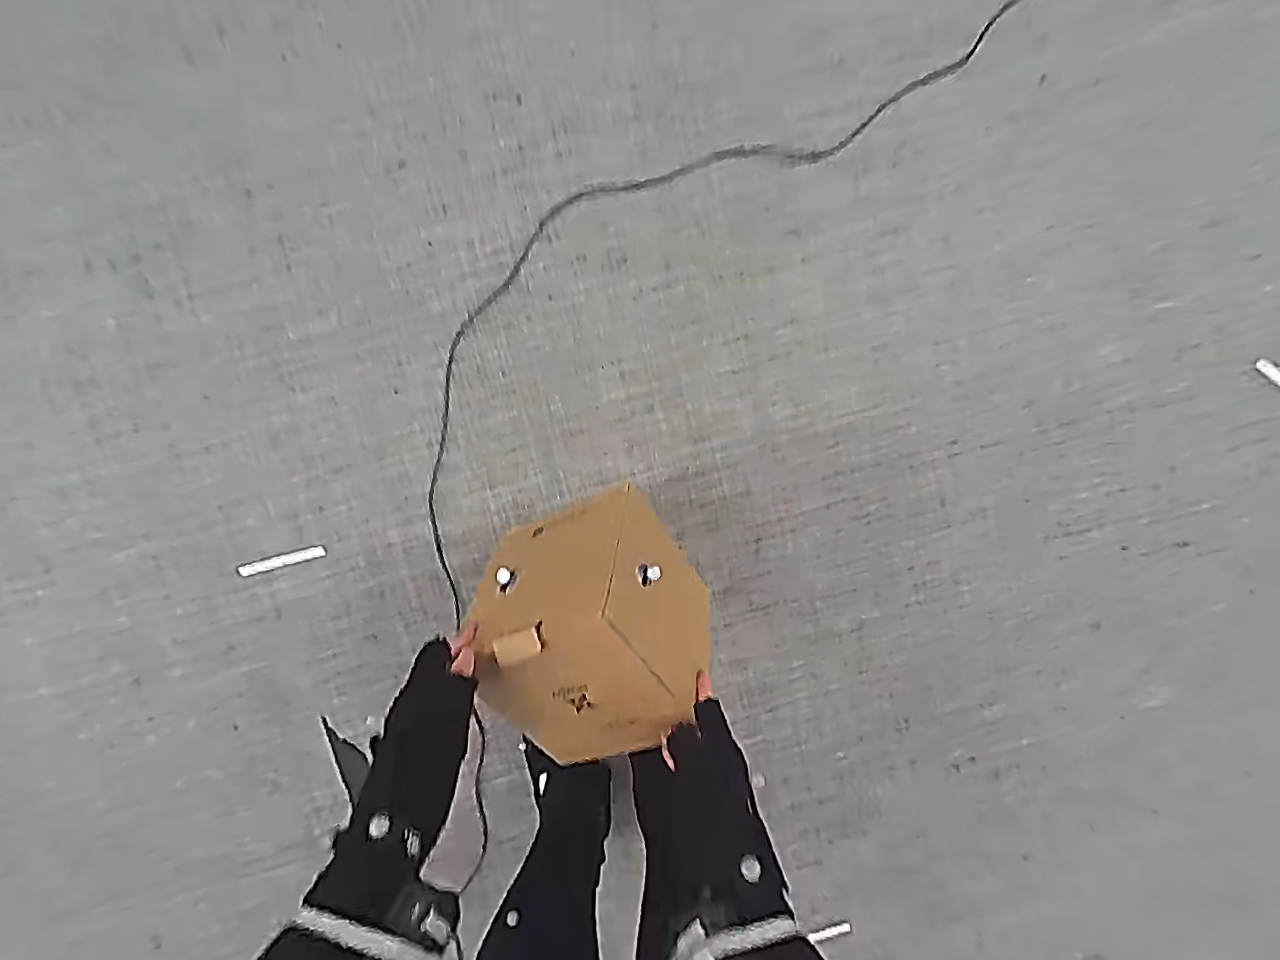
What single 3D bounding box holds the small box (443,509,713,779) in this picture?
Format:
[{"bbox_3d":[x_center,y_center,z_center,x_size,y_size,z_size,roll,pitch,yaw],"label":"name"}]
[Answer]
[{"bbox_3d":[-0.042,0.149,0.513,0.168,0.176,0.179,-22,122,23],"label":"small box"}]
